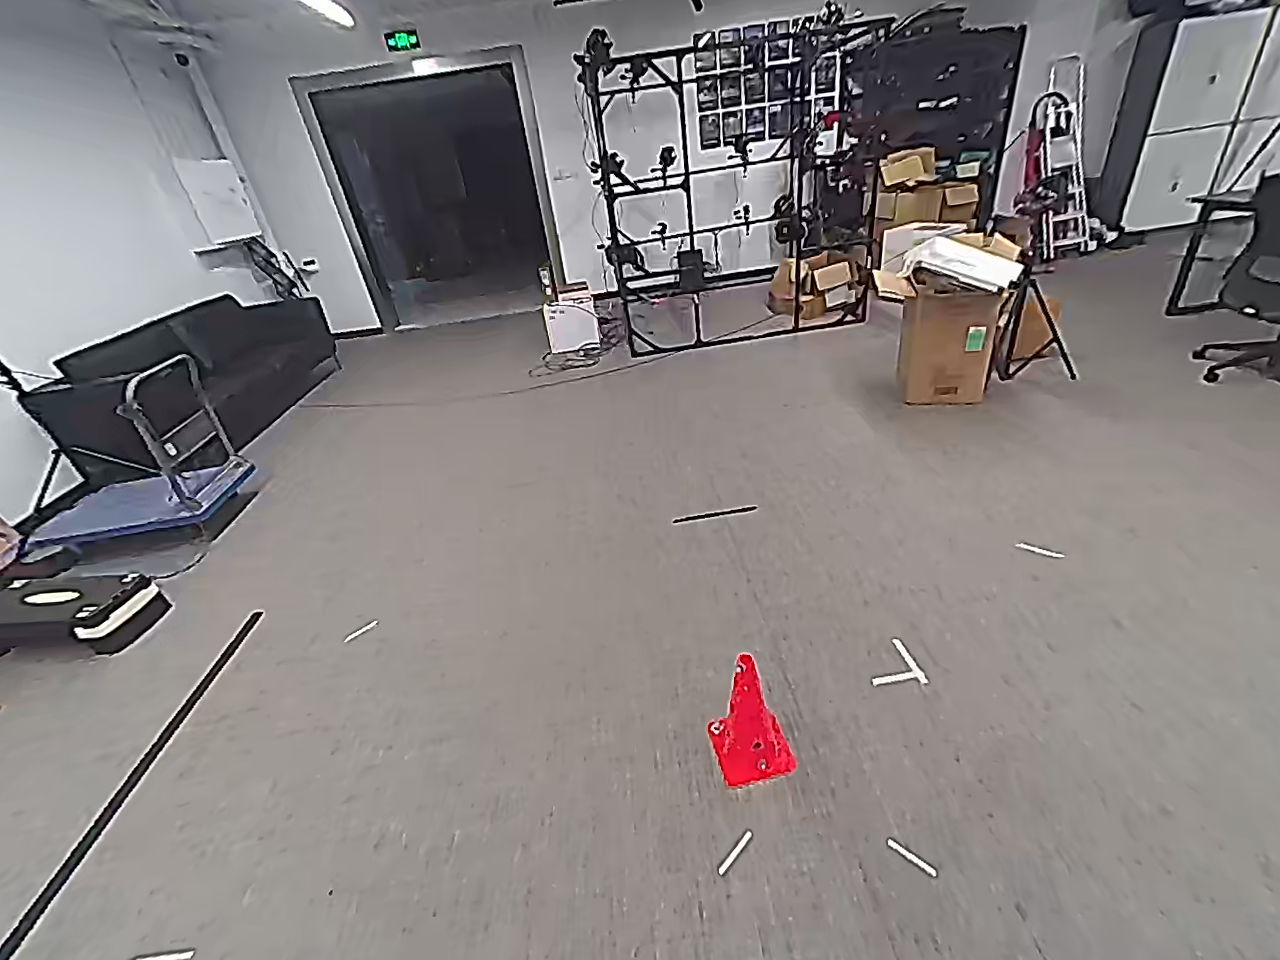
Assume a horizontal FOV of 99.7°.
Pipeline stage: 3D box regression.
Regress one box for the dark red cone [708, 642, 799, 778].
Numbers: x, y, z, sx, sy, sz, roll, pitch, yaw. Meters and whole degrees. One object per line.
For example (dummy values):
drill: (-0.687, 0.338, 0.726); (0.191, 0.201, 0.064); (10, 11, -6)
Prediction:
dark red cone: (0.283, 0.563, 1.387); (0.202, 0.394, 0.201); (-13, 32, -6)
